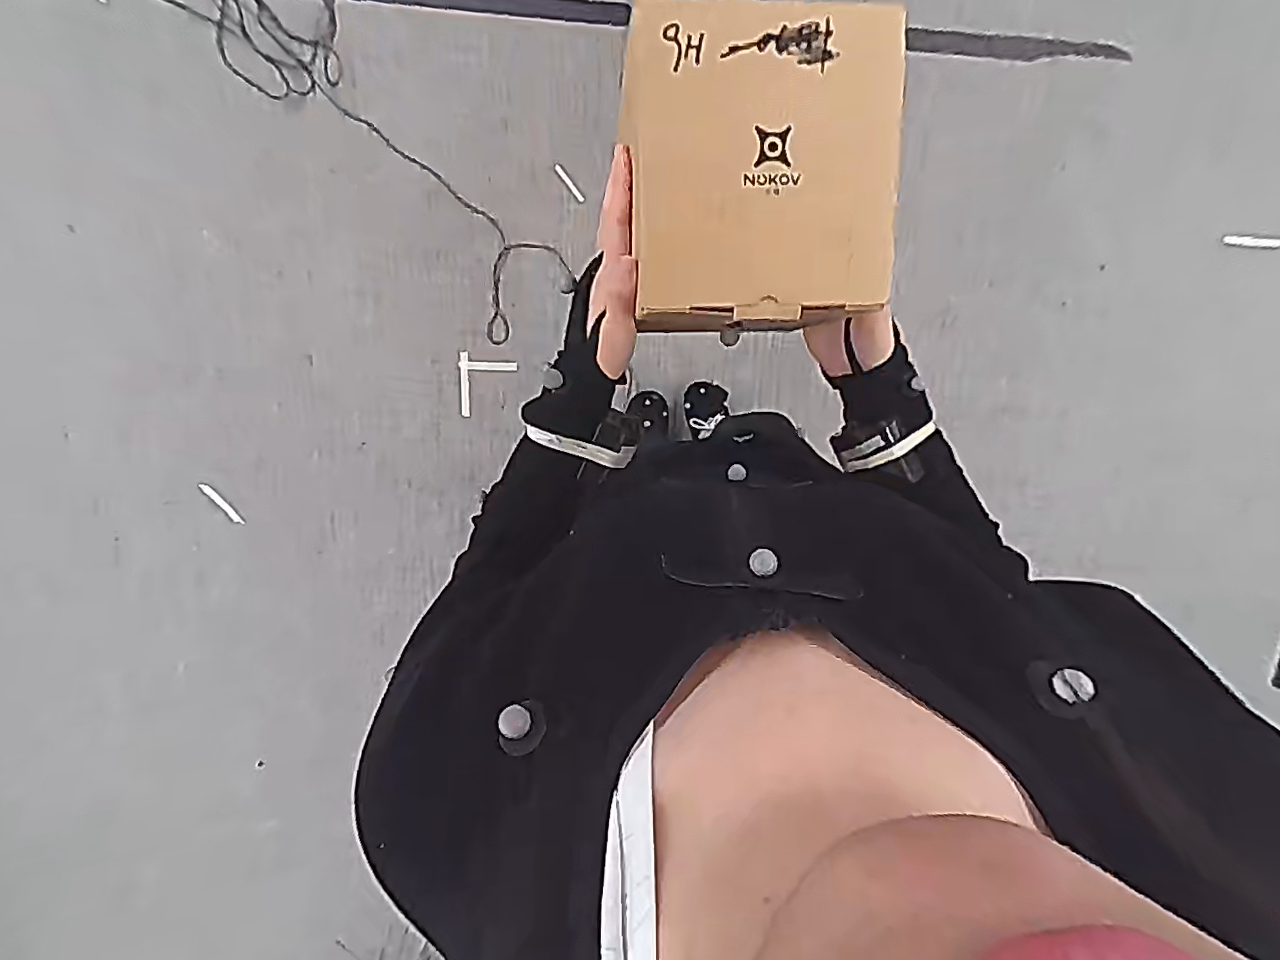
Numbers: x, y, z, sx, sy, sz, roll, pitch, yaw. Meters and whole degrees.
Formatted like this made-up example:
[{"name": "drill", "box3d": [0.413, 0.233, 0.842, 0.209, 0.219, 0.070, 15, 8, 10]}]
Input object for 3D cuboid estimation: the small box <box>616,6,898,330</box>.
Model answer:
[{"name": "small box", "box3d": [0.069, -0.210, 0.418, 0.168, 0.176, 0.179, -2, 101, -6]}]
